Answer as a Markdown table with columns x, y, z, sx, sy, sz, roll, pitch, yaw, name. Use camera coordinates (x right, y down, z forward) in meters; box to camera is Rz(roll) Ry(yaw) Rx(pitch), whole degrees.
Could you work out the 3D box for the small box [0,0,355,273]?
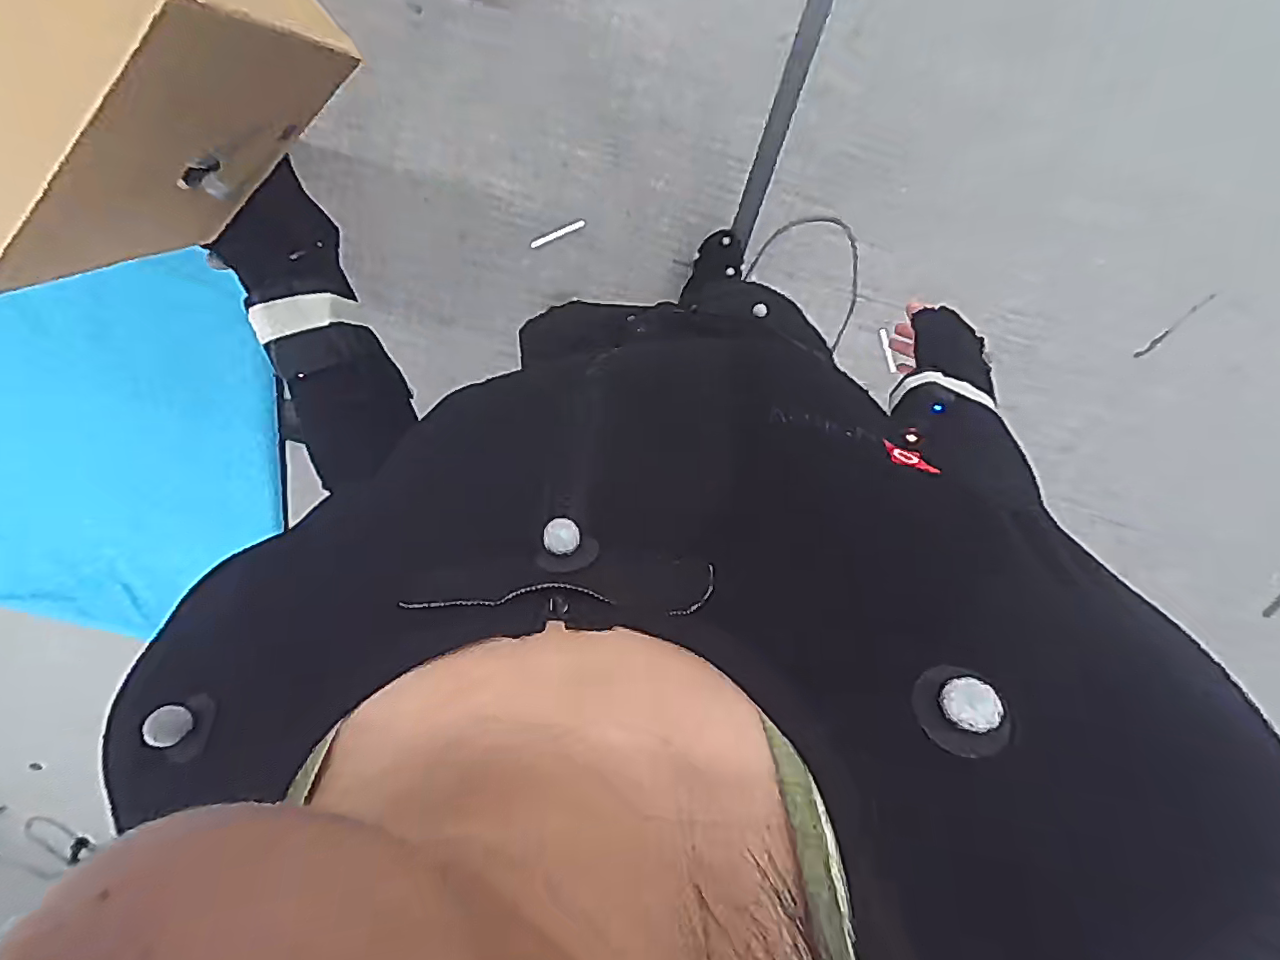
| x | y | z | sx | sy | sz | roll | pitch | yaw | name |
| --- | --- | --- | --- | --- | --- | --- | --- | --- | --- |
| -0.269 | -0.228 | 0.236 | 0.168 | 0.176 | 0.179 | -34 | 118 | 16 | small box |
